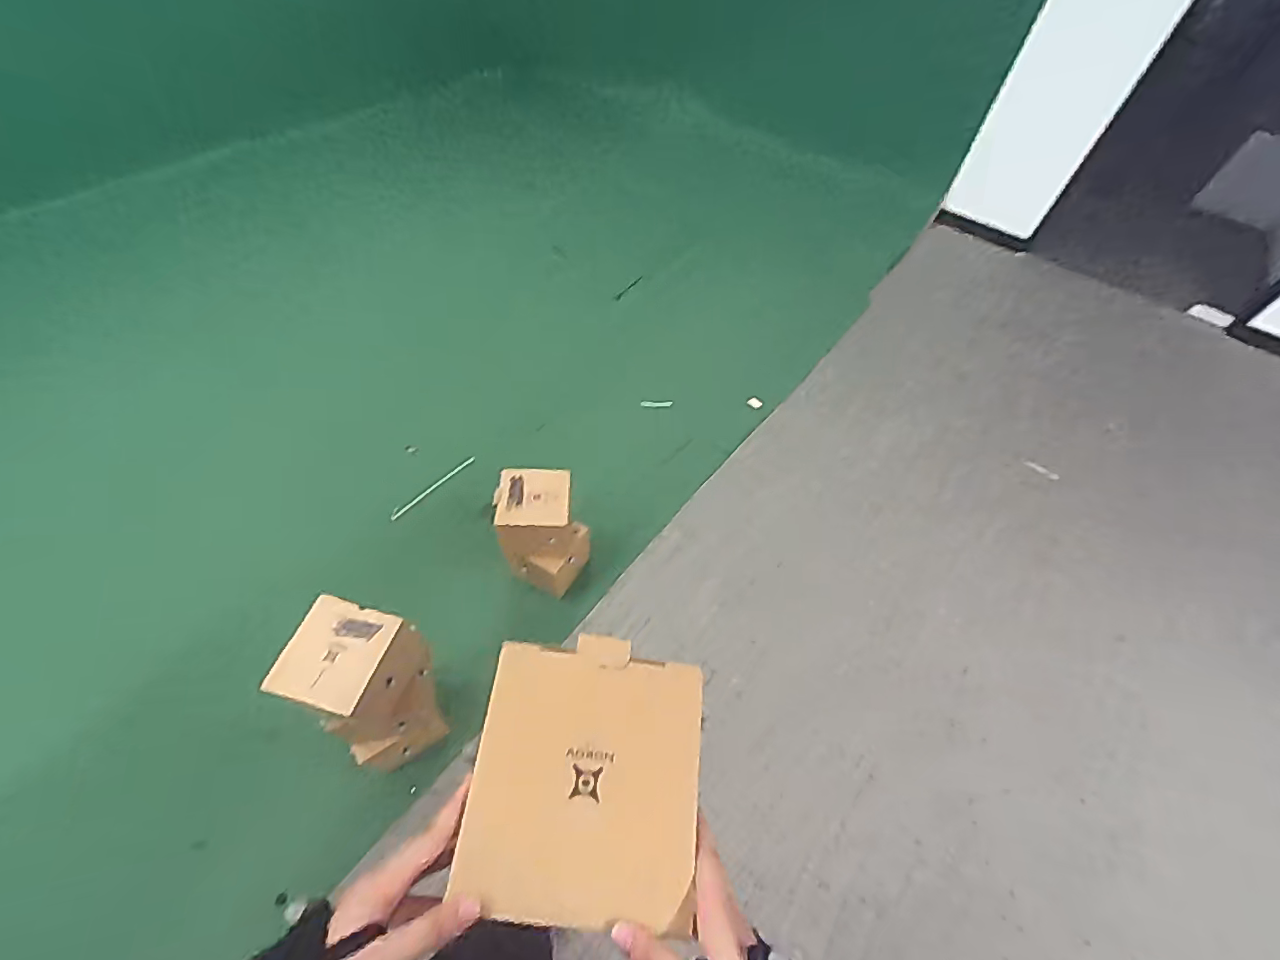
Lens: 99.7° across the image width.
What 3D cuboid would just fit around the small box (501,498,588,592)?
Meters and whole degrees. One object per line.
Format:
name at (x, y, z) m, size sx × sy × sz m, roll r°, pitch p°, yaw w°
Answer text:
small box at (-0.261, 0.188, 1.518) m, size 0.179 × 0.176 × 0.168 m, roll 27°, pitch 56°, yaw 14°

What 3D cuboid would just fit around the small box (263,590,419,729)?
small box at (-0.528, 0.333, 0.991) m, size 0.168 × 0.176 × 0.179 m, roll 16°, pitch 56°, yaw 5°

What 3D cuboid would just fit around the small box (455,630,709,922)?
small box at (-0.041, 0.245, 0.463) m, size 0.168 × 0.176 × 0.179 m, roll 8°, pitch 58°, yaw -3°

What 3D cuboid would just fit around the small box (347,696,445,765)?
small box at (-0.572, 0.531, 1.248) m, size 0.168 × 0.176 × 0.179 m, roll -28°, pitch 61°, yaw -23°

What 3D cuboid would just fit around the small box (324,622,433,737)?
small box at (-0.535, 0.422, 1.130) m, size 0.168 × 0.176 × 0.179 m, roll -9°, pitch 56°, yaw -13°
